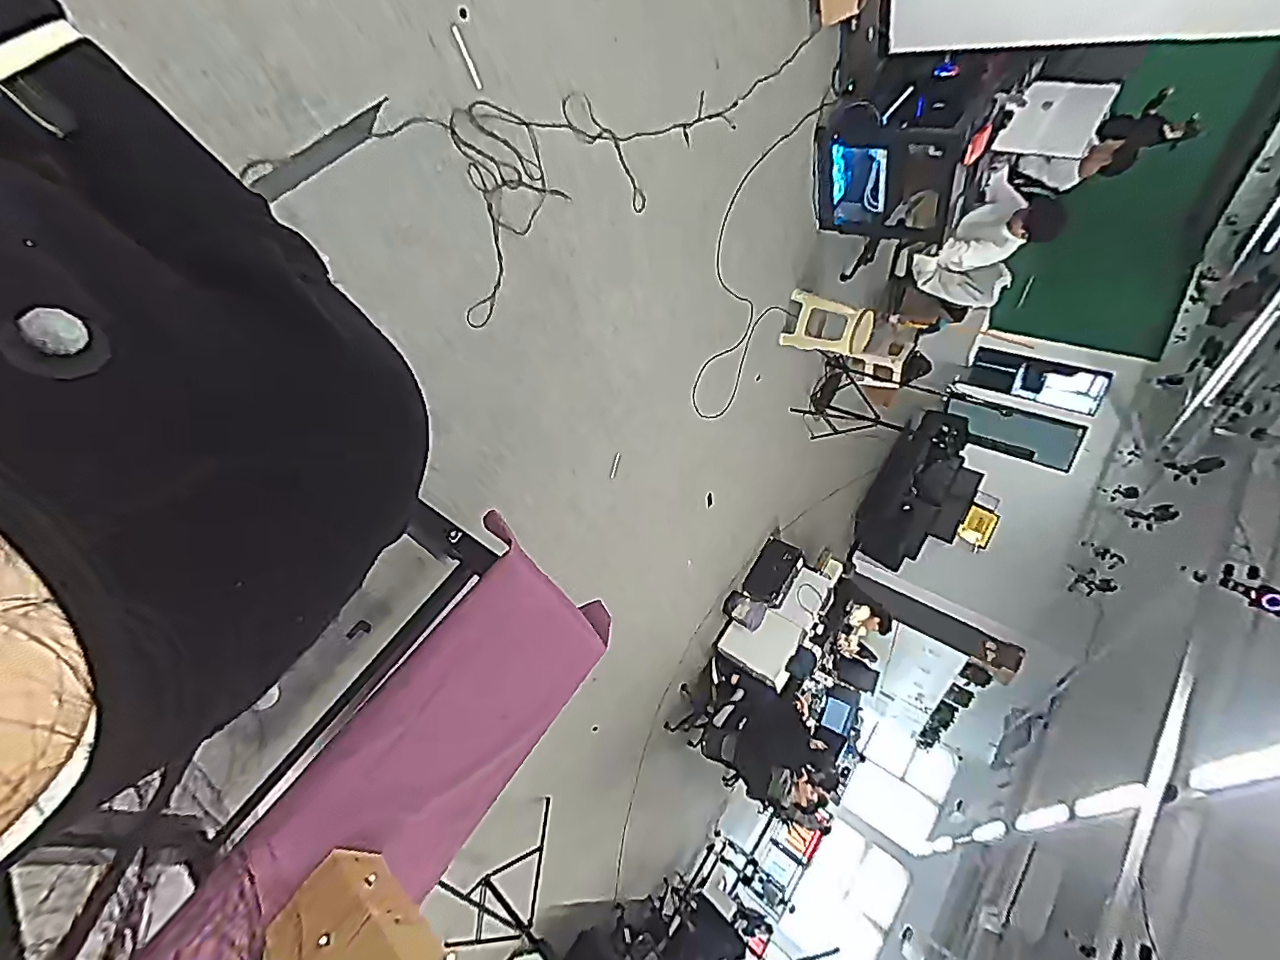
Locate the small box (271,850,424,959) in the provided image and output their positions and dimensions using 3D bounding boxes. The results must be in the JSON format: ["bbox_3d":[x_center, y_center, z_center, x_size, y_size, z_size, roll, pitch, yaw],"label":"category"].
[{"bbox_3d":[-0.577,0.877,1.072,0.179,0.176,0.168,-50,144,-21],"label":"small box"}]
